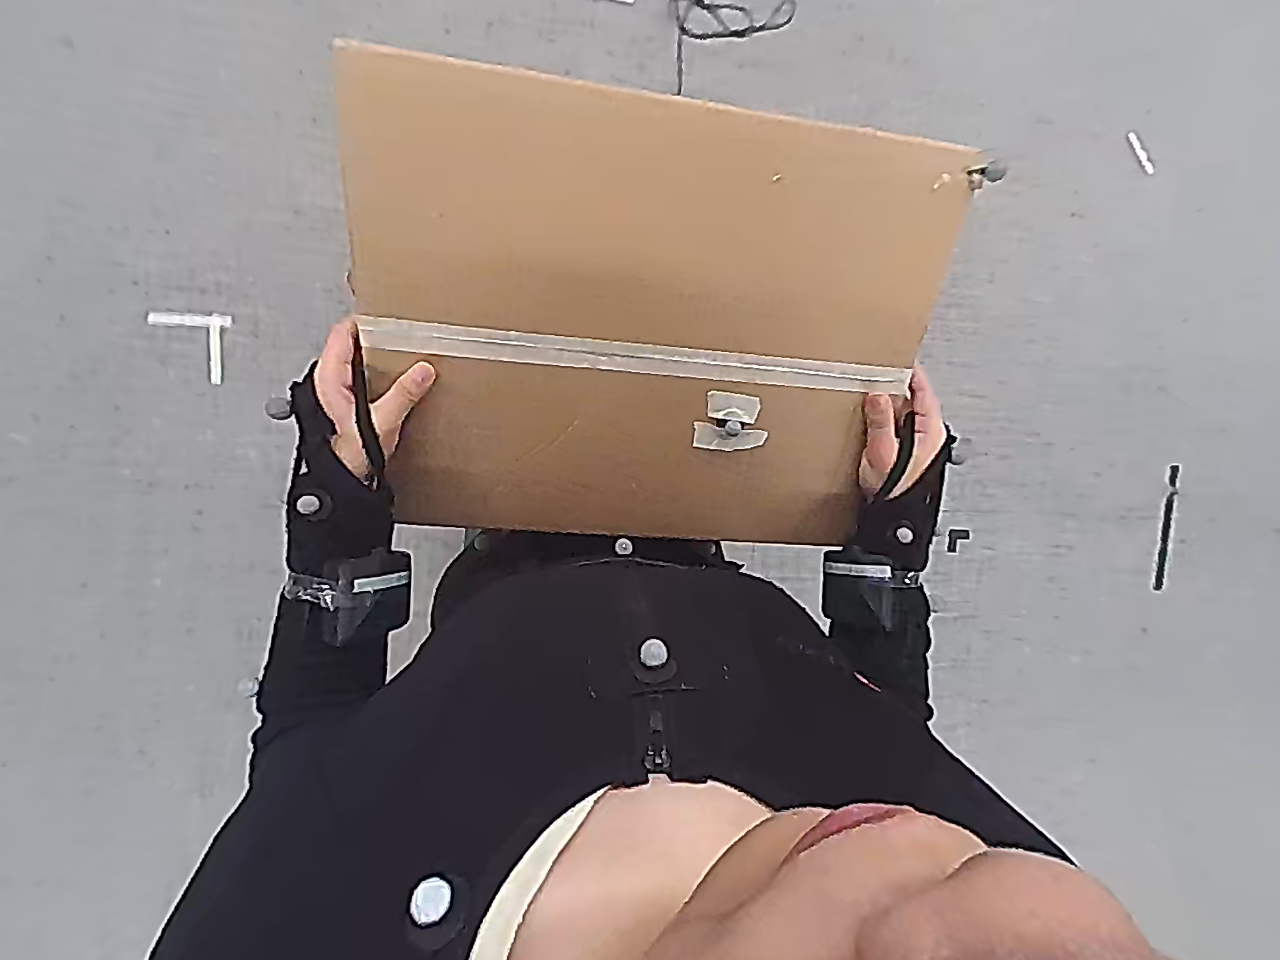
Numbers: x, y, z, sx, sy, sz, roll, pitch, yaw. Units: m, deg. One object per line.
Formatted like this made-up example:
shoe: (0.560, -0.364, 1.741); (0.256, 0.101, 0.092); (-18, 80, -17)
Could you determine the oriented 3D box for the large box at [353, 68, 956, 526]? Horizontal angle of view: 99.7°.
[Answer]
large box: (-0.008, -0.166, 0.543); (0.408, 0.320, 0.320); (3, 118, -9)
